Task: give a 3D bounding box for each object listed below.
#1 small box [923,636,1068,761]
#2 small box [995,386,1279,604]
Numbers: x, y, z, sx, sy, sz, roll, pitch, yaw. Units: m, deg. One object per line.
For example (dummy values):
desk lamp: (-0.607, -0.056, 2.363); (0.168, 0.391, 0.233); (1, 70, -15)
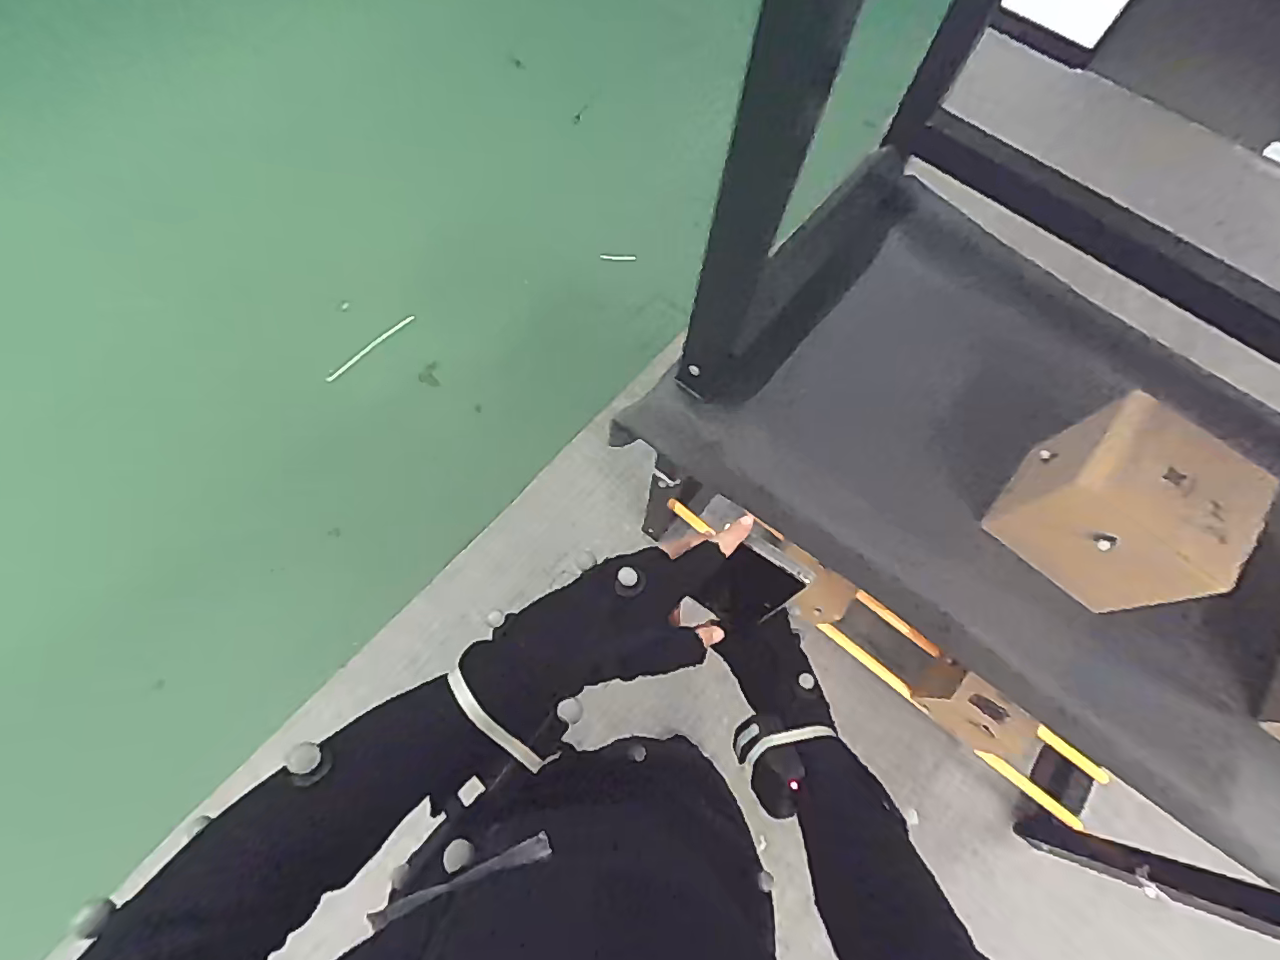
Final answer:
small box: (0.745, 0.464, 1.159); (0.168, 0.176, 0.179); (42, 72, 12)
small box: (0.584, 0.029, 0.652); (0.179, 0.176, 0.168); (41, 73, 12)
